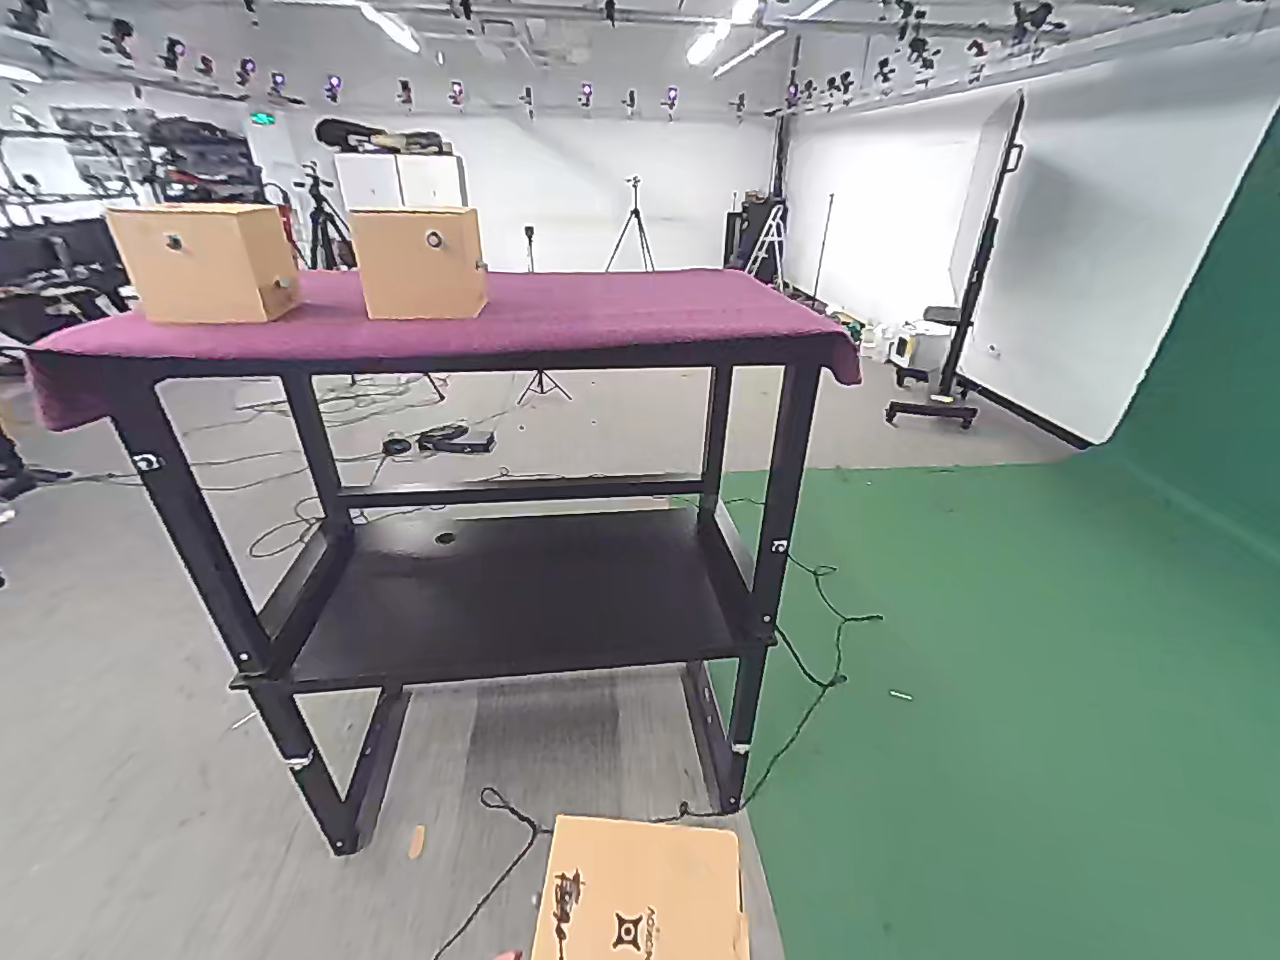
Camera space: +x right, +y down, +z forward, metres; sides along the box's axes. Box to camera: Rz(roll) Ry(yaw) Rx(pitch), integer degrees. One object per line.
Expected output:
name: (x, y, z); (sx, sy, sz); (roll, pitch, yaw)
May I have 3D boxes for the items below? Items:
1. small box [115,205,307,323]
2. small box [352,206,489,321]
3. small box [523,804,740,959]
small box: (-0.699, -0.364, 0.909); (0.179, 0.176, 0.168); (-3, 30, -9)
small box: (-0.371, -0.383, 0.955); (0.179, 0.176, 0.168); (-2, 28, -5)
small box: (-0.002, 0.429, 0.503); (0.179, 0.176, 0.168); (2, 42, 7)
